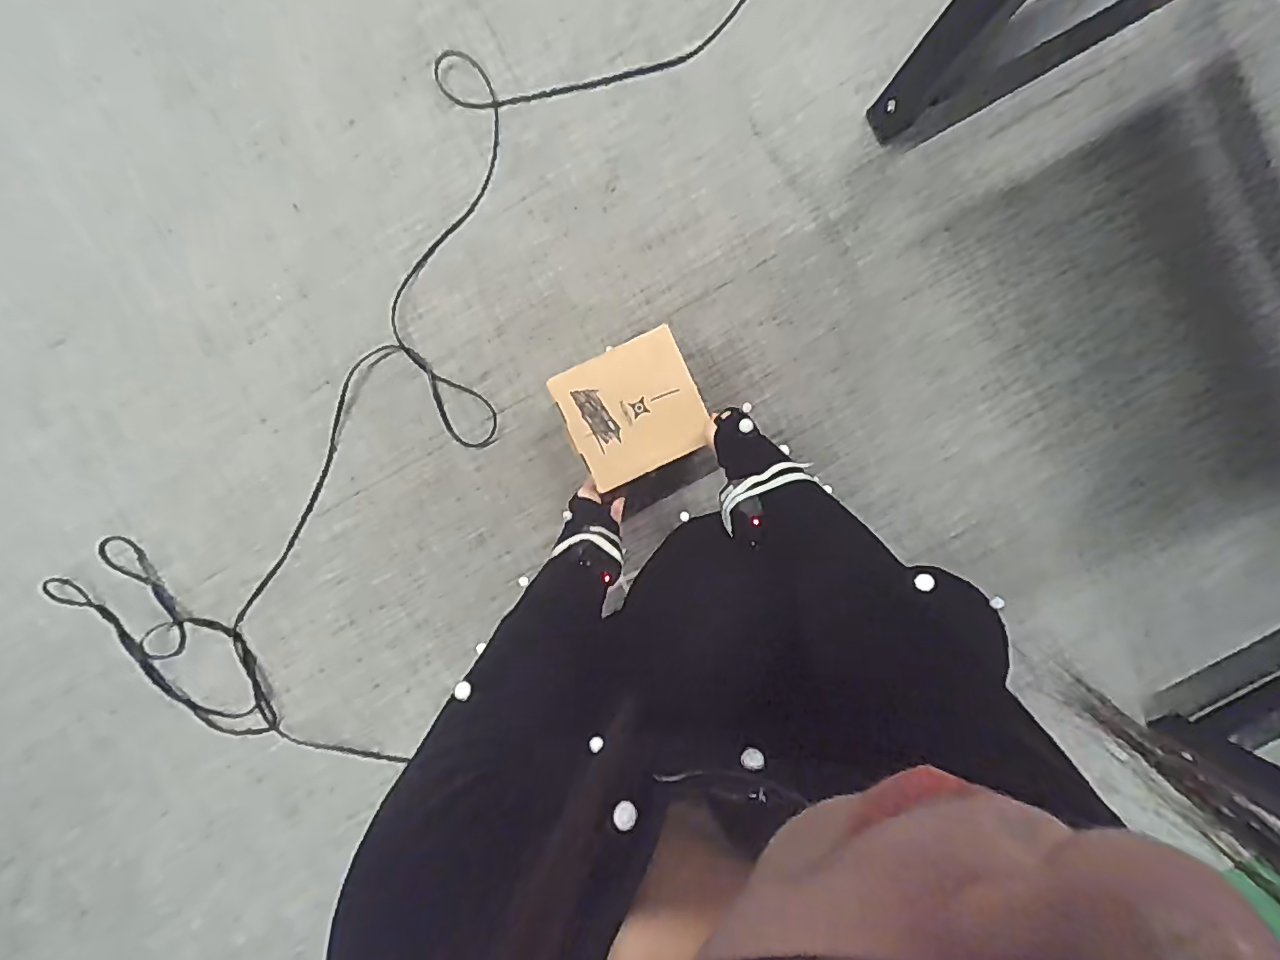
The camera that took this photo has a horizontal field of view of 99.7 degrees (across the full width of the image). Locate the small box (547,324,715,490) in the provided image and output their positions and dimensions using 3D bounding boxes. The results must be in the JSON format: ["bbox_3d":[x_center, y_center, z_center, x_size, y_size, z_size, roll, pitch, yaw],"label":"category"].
[{"bbox_3d":[-0.013,-0.100,0.783,0.179,0.176,0.168,-26,96,0],"label":"small box"}]
